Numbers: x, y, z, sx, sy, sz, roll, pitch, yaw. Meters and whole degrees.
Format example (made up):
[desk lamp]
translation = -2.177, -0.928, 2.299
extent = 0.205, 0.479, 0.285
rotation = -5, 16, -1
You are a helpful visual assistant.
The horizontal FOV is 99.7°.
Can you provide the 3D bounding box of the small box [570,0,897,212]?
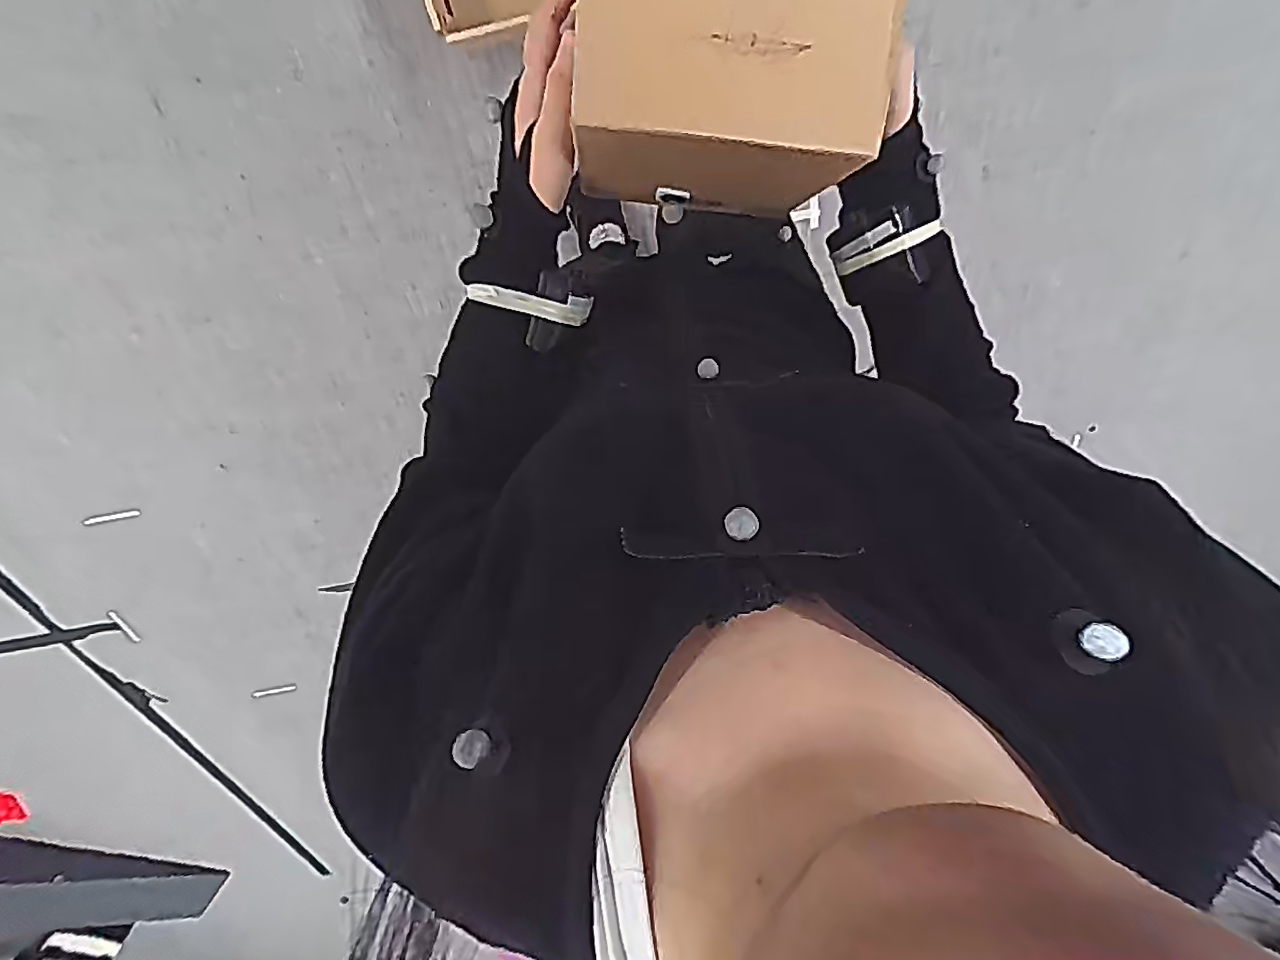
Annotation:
[small box]
translation = 0.045, -0.287, 0.341
extent = 0.168, 0.176, 0.179
rotation = 3, 106, -5
